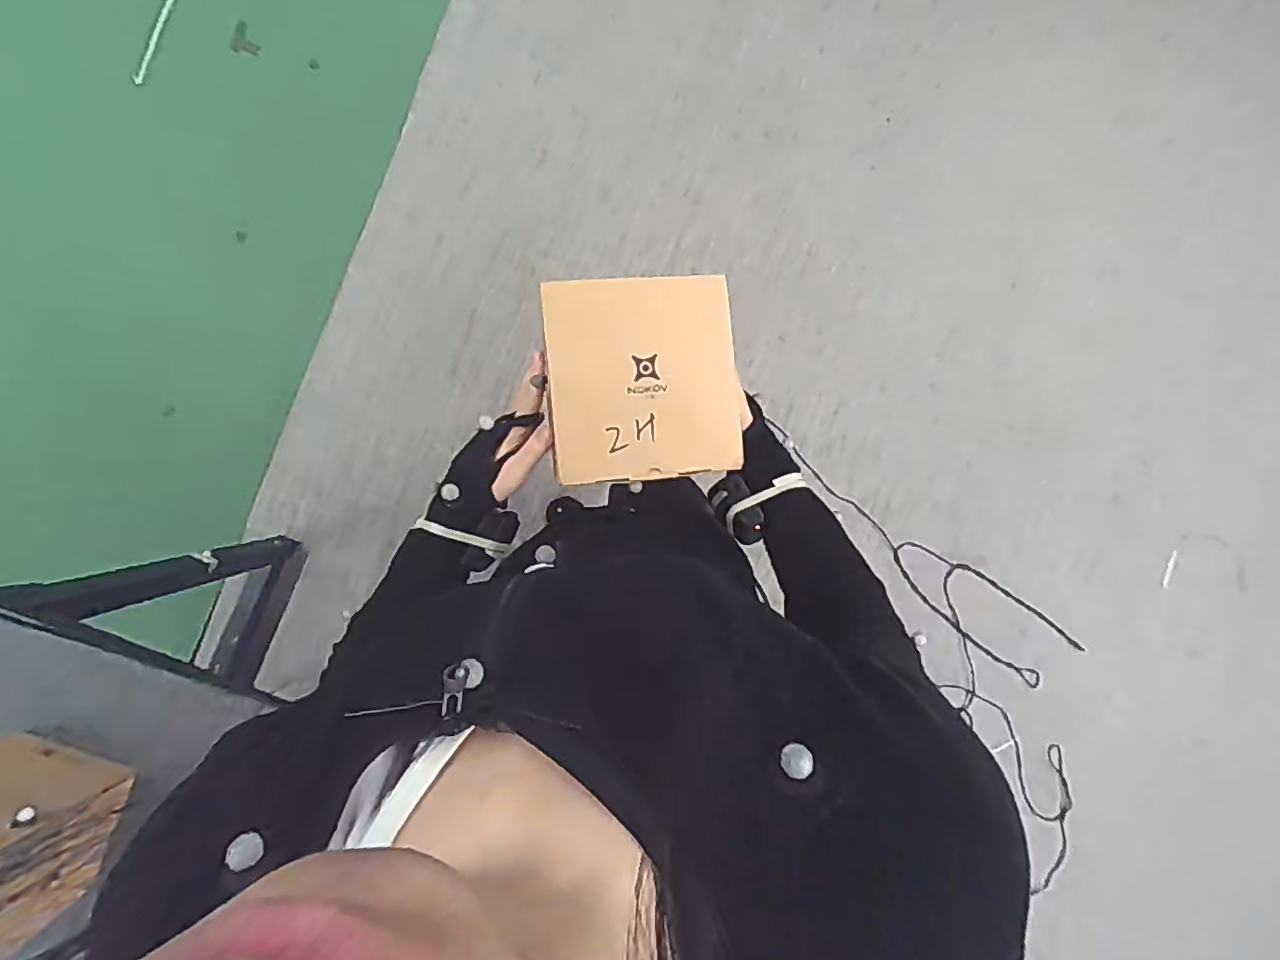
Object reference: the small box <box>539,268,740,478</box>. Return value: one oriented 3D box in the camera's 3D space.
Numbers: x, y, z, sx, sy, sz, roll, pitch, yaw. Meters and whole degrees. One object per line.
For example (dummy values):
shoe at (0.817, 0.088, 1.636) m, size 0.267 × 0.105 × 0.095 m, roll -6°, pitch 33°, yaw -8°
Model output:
small box at (-0.012, -0.094, 0.543) m, size 0.168 × 0.176 × 0.179 m, roll -5°, pitch 92°, yaw -10°
